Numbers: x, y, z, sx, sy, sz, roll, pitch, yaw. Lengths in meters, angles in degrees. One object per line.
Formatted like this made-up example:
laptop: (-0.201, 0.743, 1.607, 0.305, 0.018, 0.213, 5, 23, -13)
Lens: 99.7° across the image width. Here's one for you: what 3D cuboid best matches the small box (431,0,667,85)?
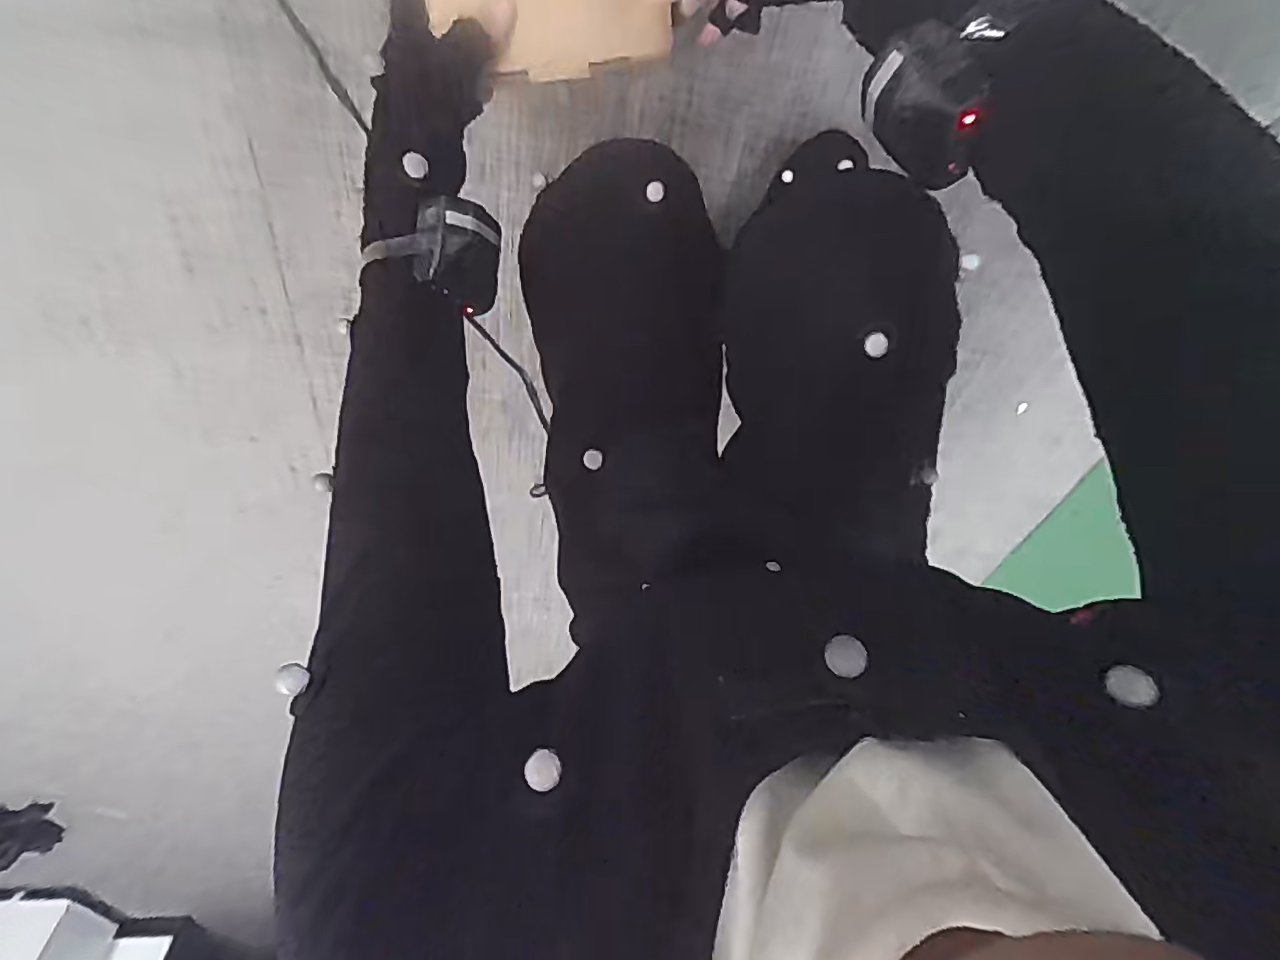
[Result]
small box: (-0.069, -0.414, 0.412, 0.168, 0.176, 0.179, -6, 125, -1)
